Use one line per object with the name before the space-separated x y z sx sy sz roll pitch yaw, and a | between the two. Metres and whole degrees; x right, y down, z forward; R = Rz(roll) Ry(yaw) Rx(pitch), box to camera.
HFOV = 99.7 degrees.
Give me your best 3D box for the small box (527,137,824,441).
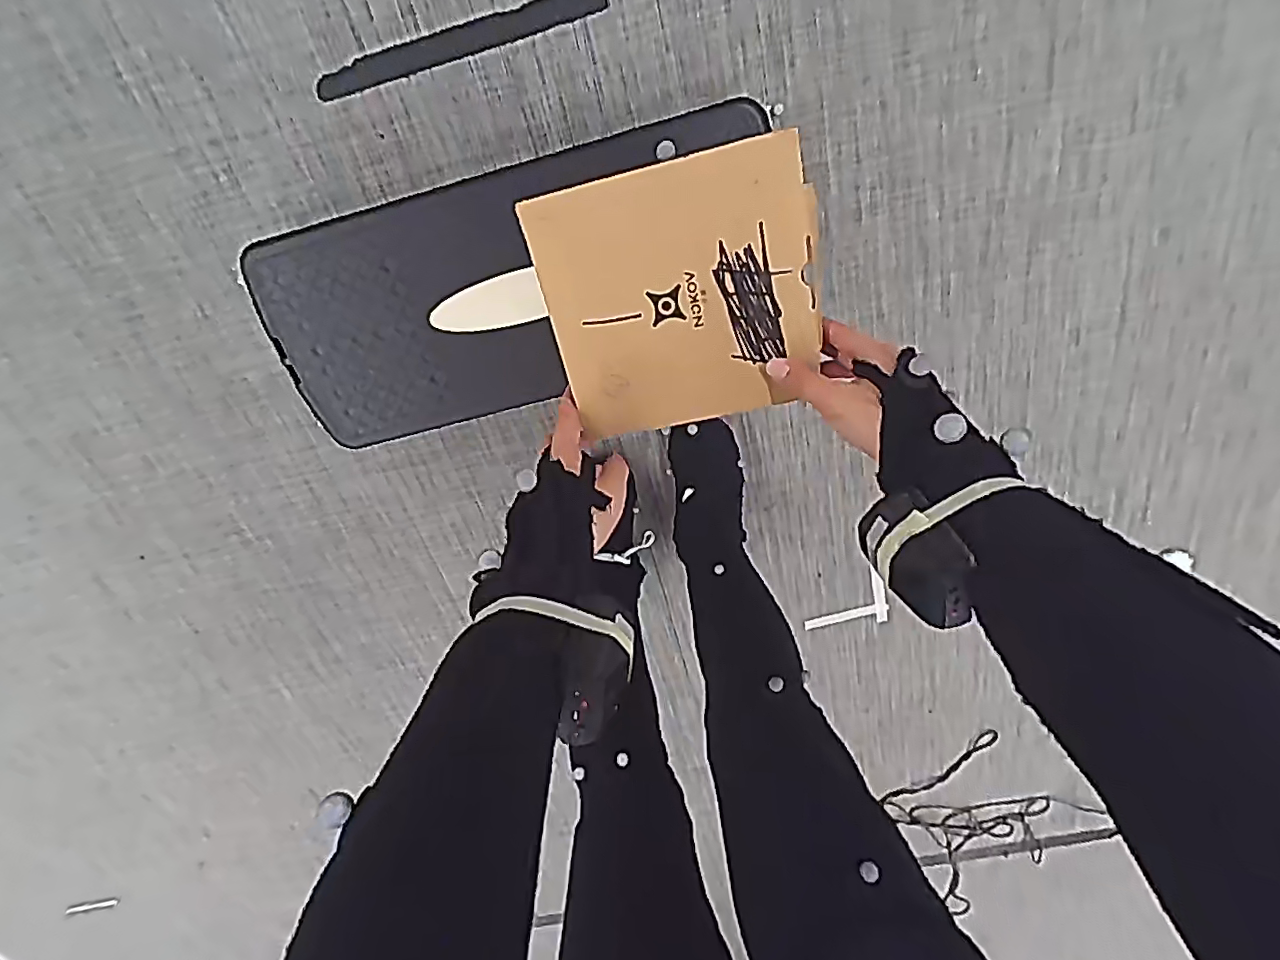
small box | 0.029 -0.152 0.430 0.179 0.176 0.168 -12 115 5
